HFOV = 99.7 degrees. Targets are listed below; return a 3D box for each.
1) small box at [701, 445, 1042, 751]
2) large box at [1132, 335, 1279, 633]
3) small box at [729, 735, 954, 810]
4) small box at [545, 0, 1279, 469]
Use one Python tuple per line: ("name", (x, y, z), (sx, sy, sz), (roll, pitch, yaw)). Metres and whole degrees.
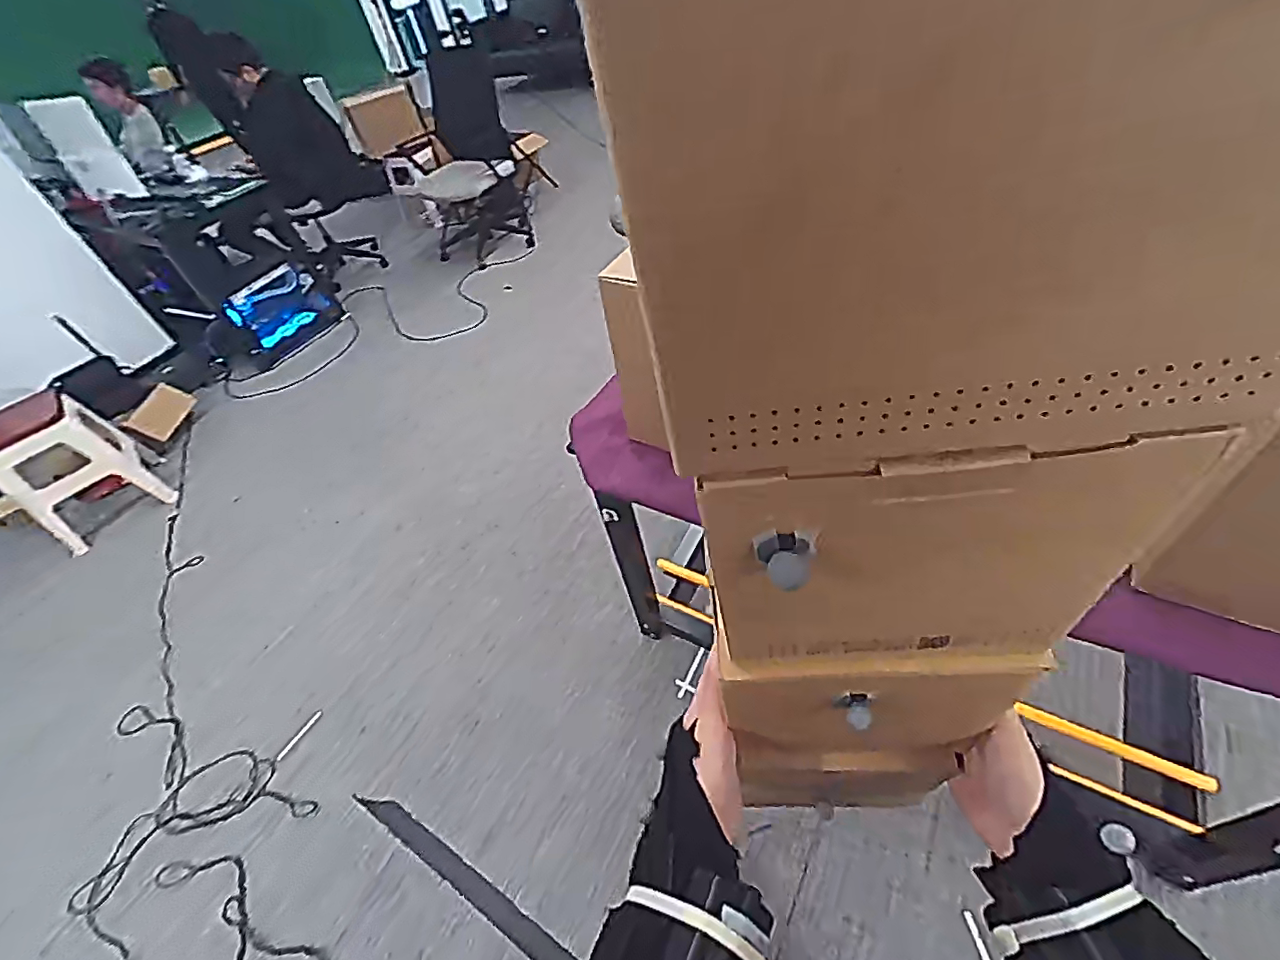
("small box", (0.143, 0.094, 0.404), (0.179, 0.176, 0.168), (-7, 50, 10))
("large box", (0.788, -0.062, 0.577), (0.320, 0.320, 0.408), (18, 53, 26))
("small box", (0.169, 0.203, 0.522), (0.168, 0.176, 0.179), (-6, 50, 10))
("small box", (0.081, -0.121, 0.162), (0.179, 0.176, 0.168), (-6, 49, 10))
